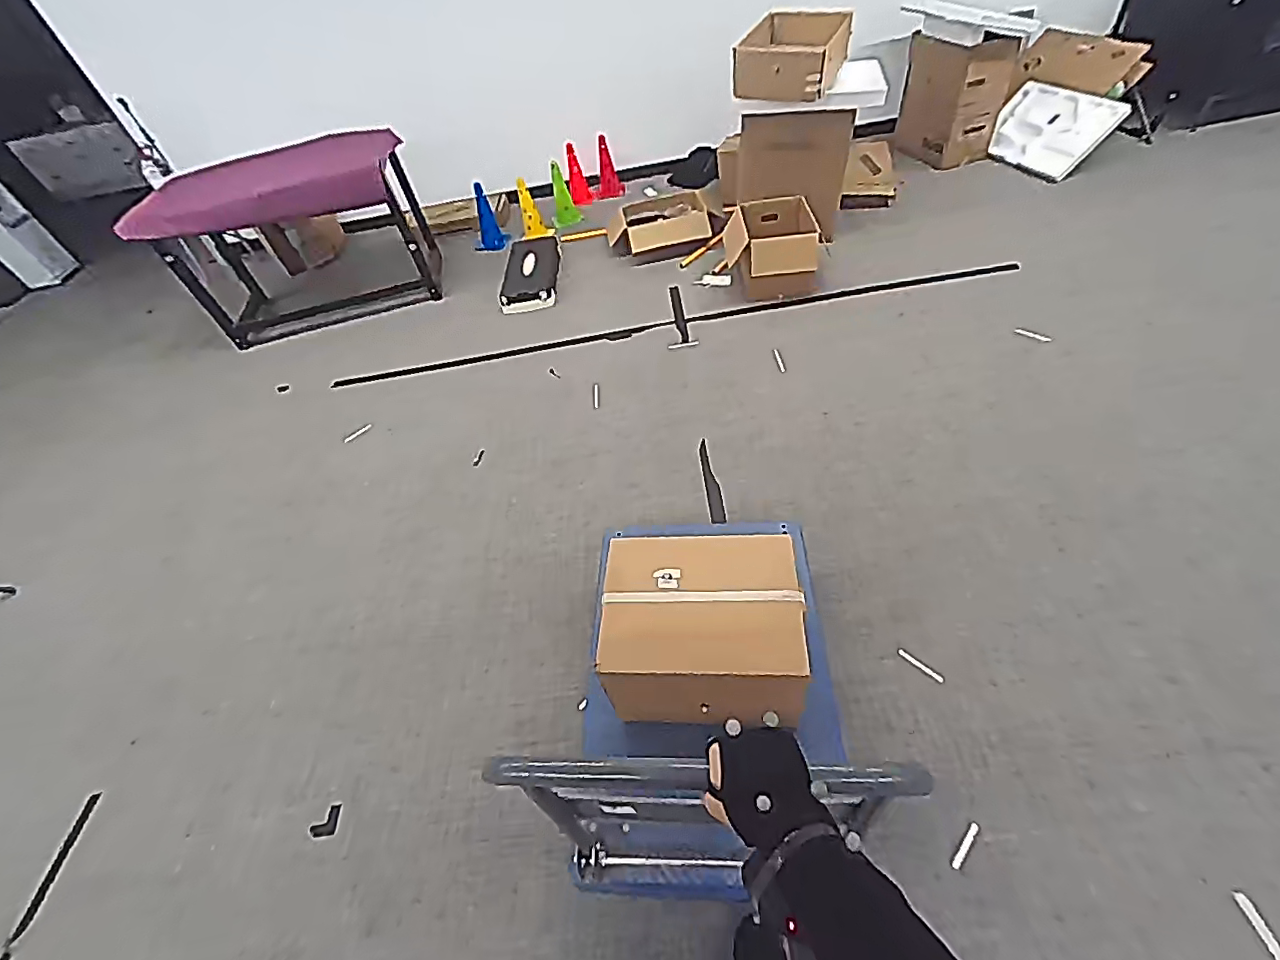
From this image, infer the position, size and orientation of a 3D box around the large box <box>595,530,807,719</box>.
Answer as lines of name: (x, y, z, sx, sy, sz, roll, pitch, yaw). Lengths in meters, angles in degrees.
large box: (0.140, 0.334, 1.213, 0.408, 0.320, 0.320, -4, 48, 9)
